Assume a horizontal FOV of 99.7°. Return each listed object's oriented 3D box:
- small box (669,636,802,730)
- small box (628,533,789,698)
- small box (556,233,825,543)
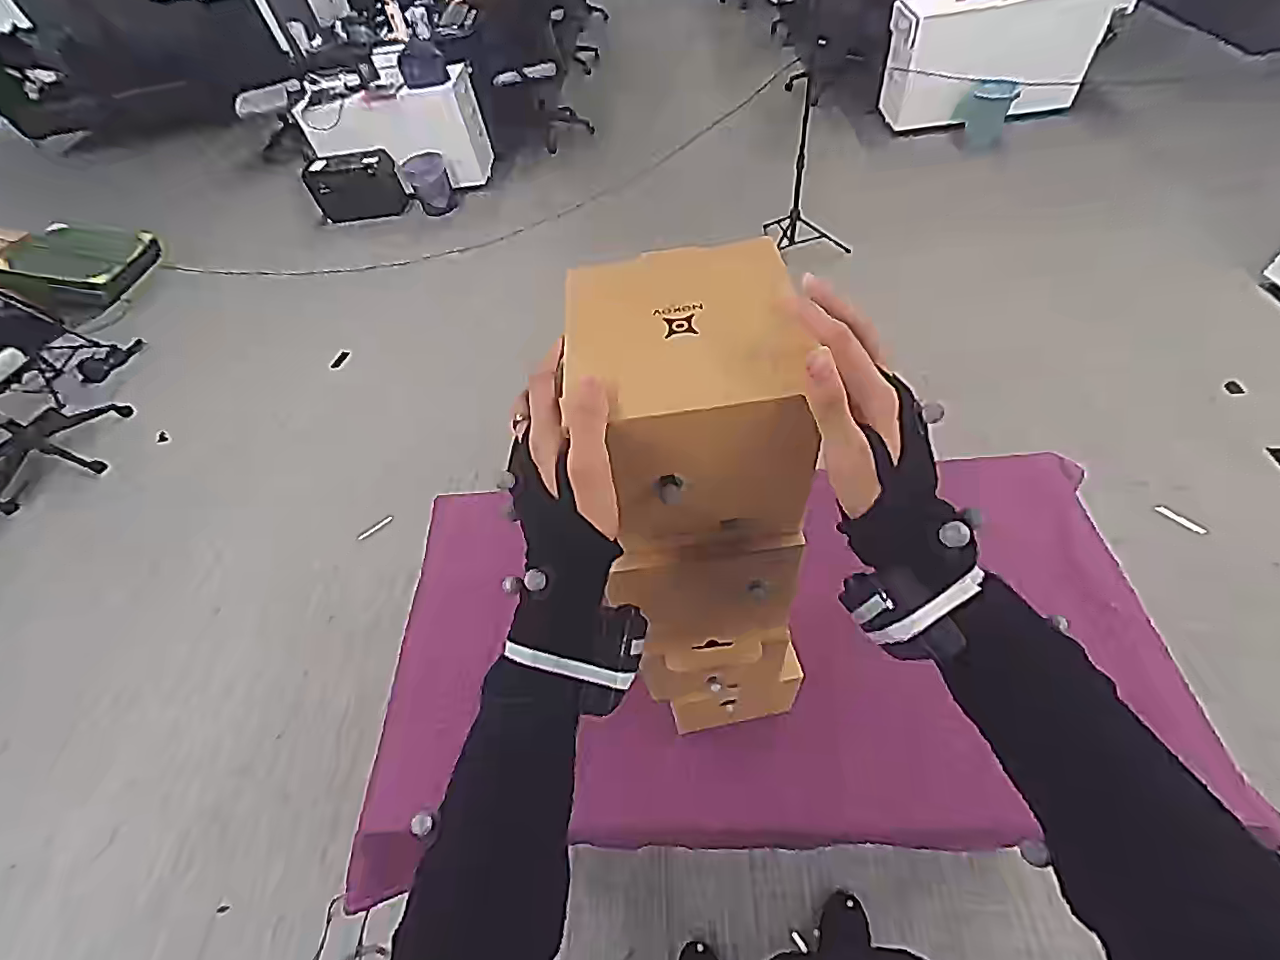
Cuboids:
[{"bbox_3d":[0.121,0.254,0.800,0.179,0.176,0.168,-12,53,-1],"label":"small box"},{"bbox_3d":[0.079,0.153,0.676,0.168,0.176,0.179,-9,53,4],"label":"small box"},{"bbox_3d":[0.036,-0.062,0.432,0.168,0.176,0.179,-8,52,4],"label":"small box"}]
